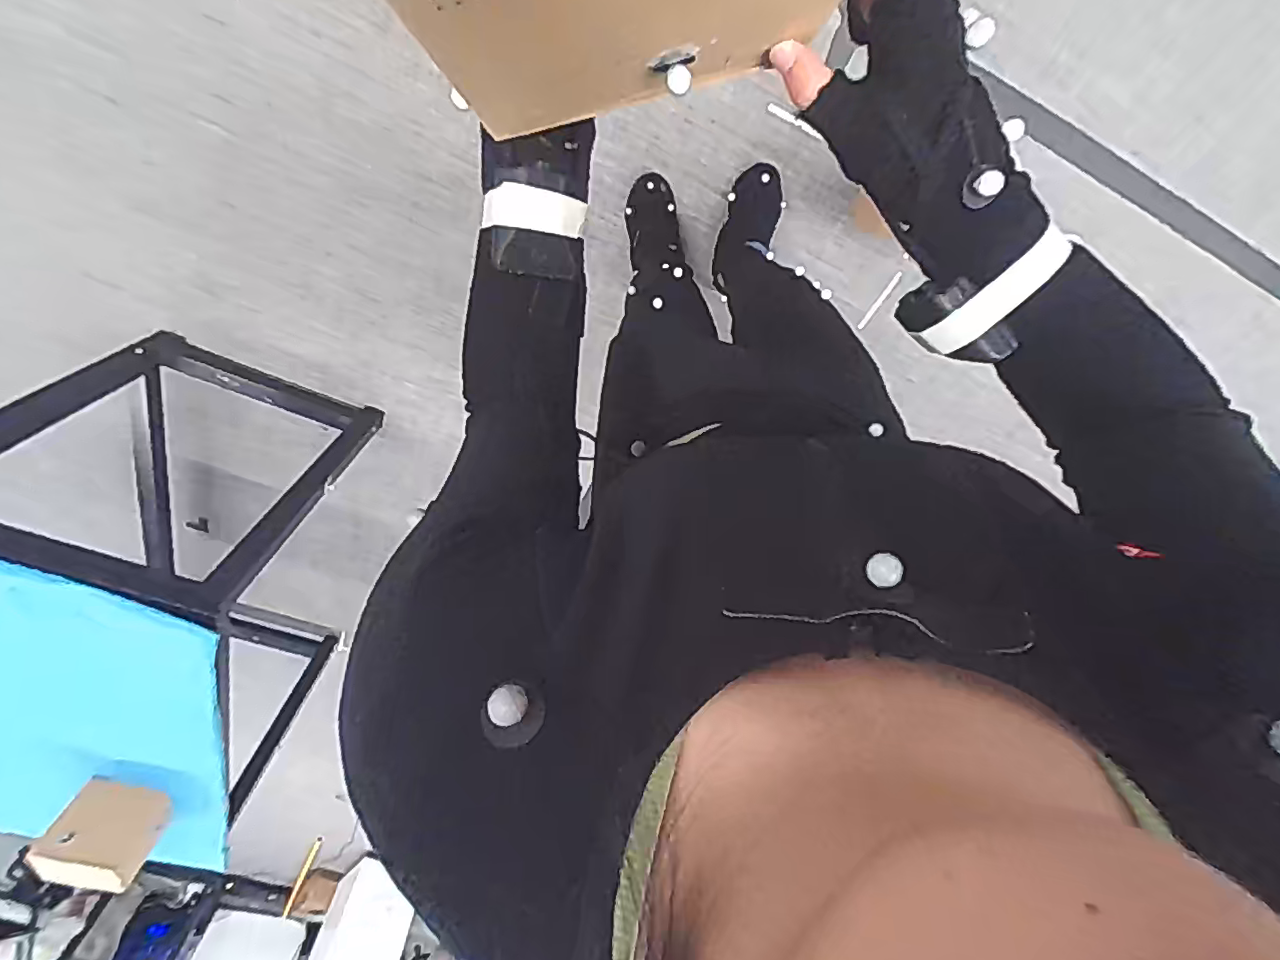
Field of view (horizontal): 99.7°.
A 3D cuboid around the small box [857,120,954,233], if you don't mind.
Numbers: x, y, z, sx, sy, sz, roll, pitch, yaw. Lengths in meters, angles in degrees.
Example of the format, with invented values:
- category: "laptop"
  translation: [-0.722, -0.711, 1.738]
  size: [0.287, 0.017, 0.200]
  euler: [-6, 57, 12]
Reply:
- category: "small box"
  translation: [0.548, -0.606, 1.076]
  size: [0.179, 0.176, 0.168]
  euler: [-6, 126, 6]

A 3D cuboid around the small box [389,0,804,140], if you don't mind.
- category: "small box"
  translation: [-0.019, -0.255, 0.193]
  size: [0.179, 0.176, 0.168]
  euler: [-14, 108, 3]

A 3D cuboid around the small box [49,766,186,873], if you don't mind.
- category: "small box"
  translation: [-1.277, 0.835, 1.335]
  size: [0.179, 0.176, 0.168]
  euler: [22, 126, -15]

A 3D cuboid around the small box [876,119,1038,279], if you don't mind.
- category: "small box"
  translation: [0.541, -0.495, 0.953]
  size: [0.179, 0.176, 0.168]
  euler: [-35, 119, 25]
